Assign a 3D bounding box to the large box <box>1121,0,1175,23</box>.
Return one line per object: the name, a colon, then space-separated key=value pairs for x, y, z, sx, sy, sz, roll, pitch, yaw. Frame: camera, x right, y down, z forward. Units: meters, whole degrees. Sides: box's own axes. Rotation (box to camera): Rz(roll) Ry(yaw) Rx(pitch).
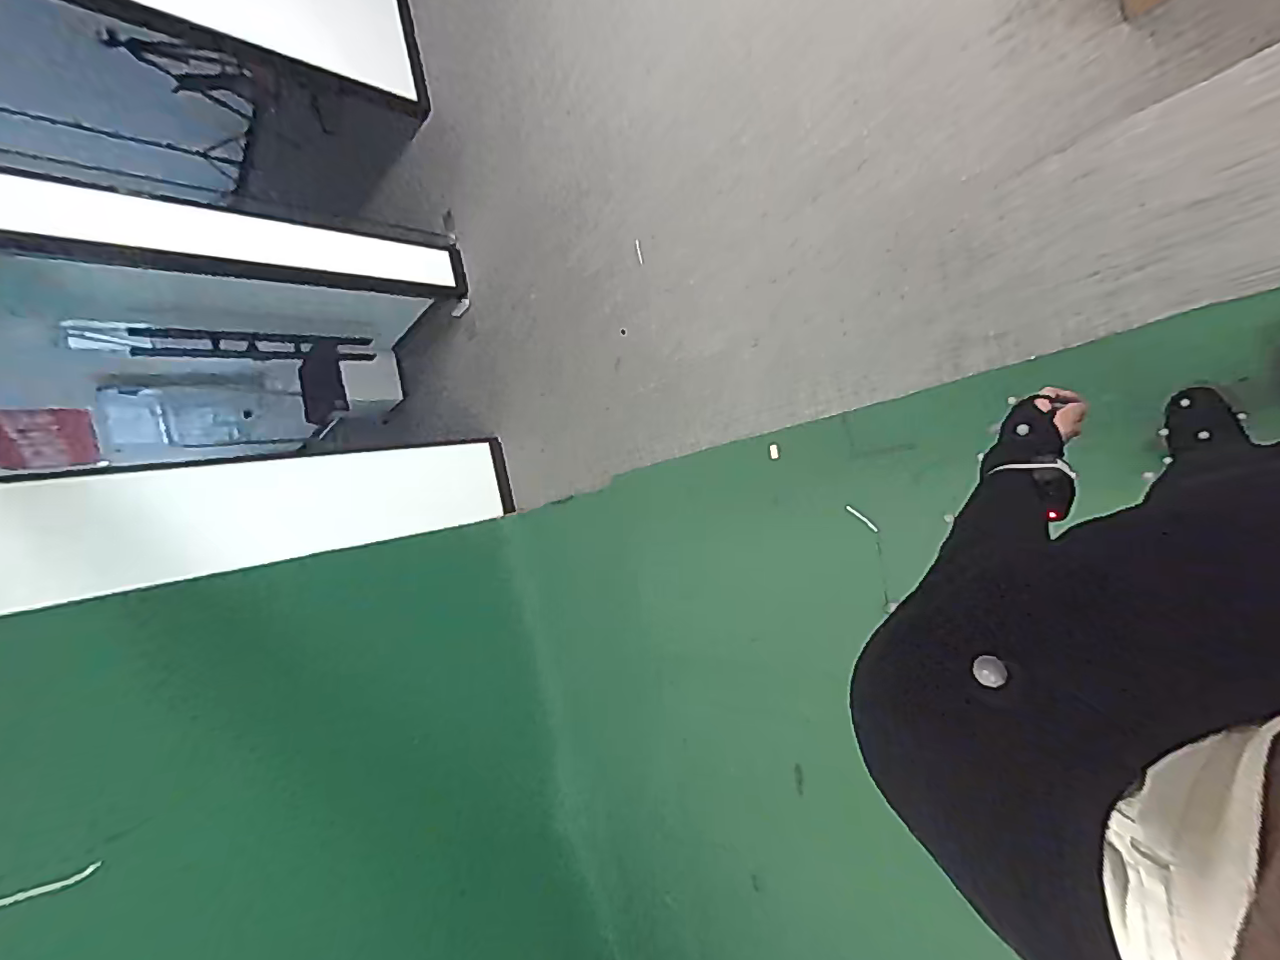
large box: x=1.061 y=-1.157 z=0.944 sx=0.408 sy=0.320 sz=0.320 roll=-18 pitch=83 yaw=47
